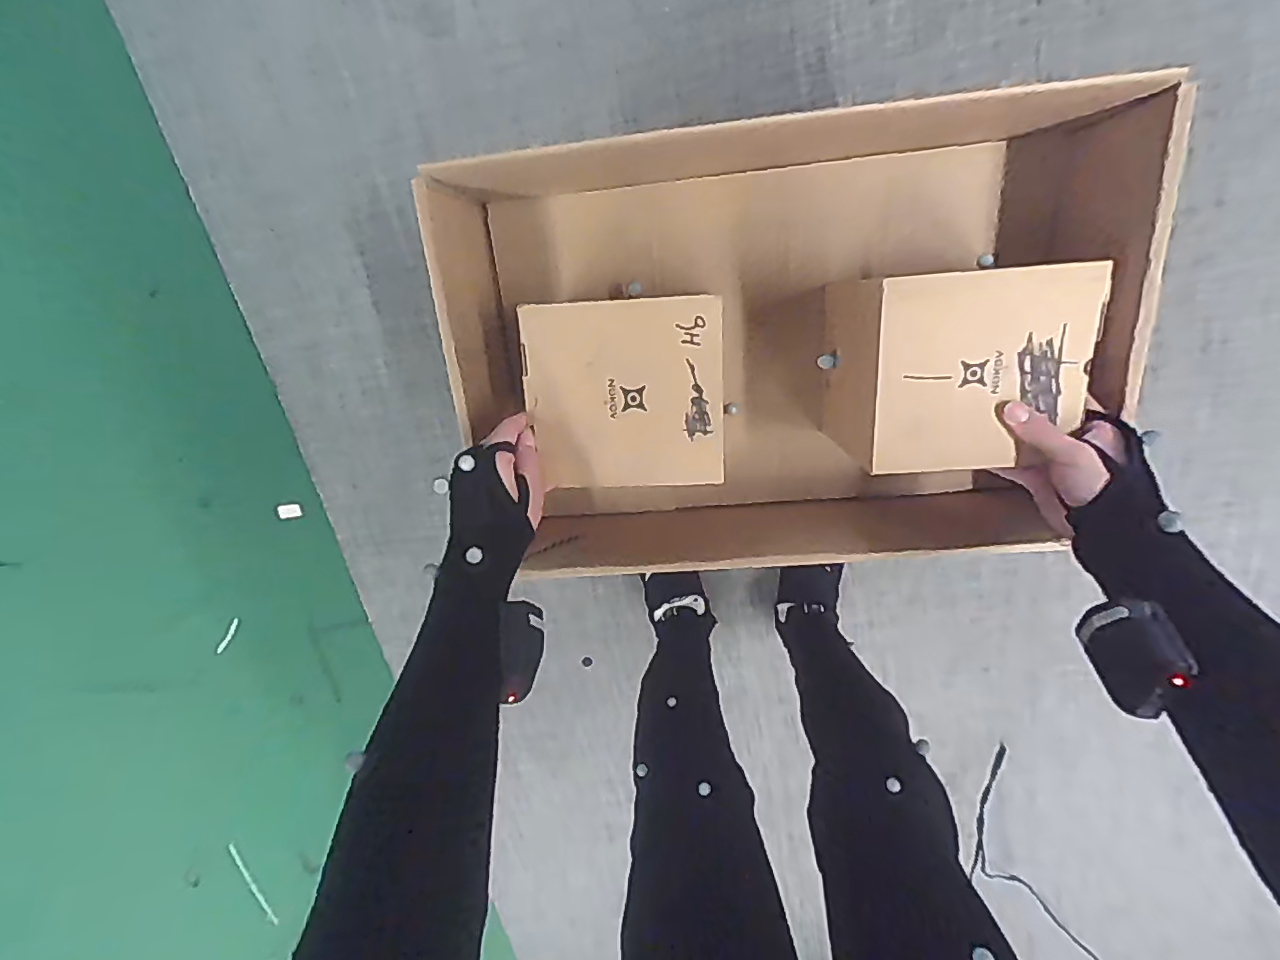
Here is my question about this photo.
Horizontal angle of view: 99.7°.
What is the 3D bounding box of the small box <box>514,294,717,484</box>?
[{"bbox_3d":[-0.011,-0.098,0.554,0.179,0.176,0.168,-1,108,7],"label":"small box"}]
